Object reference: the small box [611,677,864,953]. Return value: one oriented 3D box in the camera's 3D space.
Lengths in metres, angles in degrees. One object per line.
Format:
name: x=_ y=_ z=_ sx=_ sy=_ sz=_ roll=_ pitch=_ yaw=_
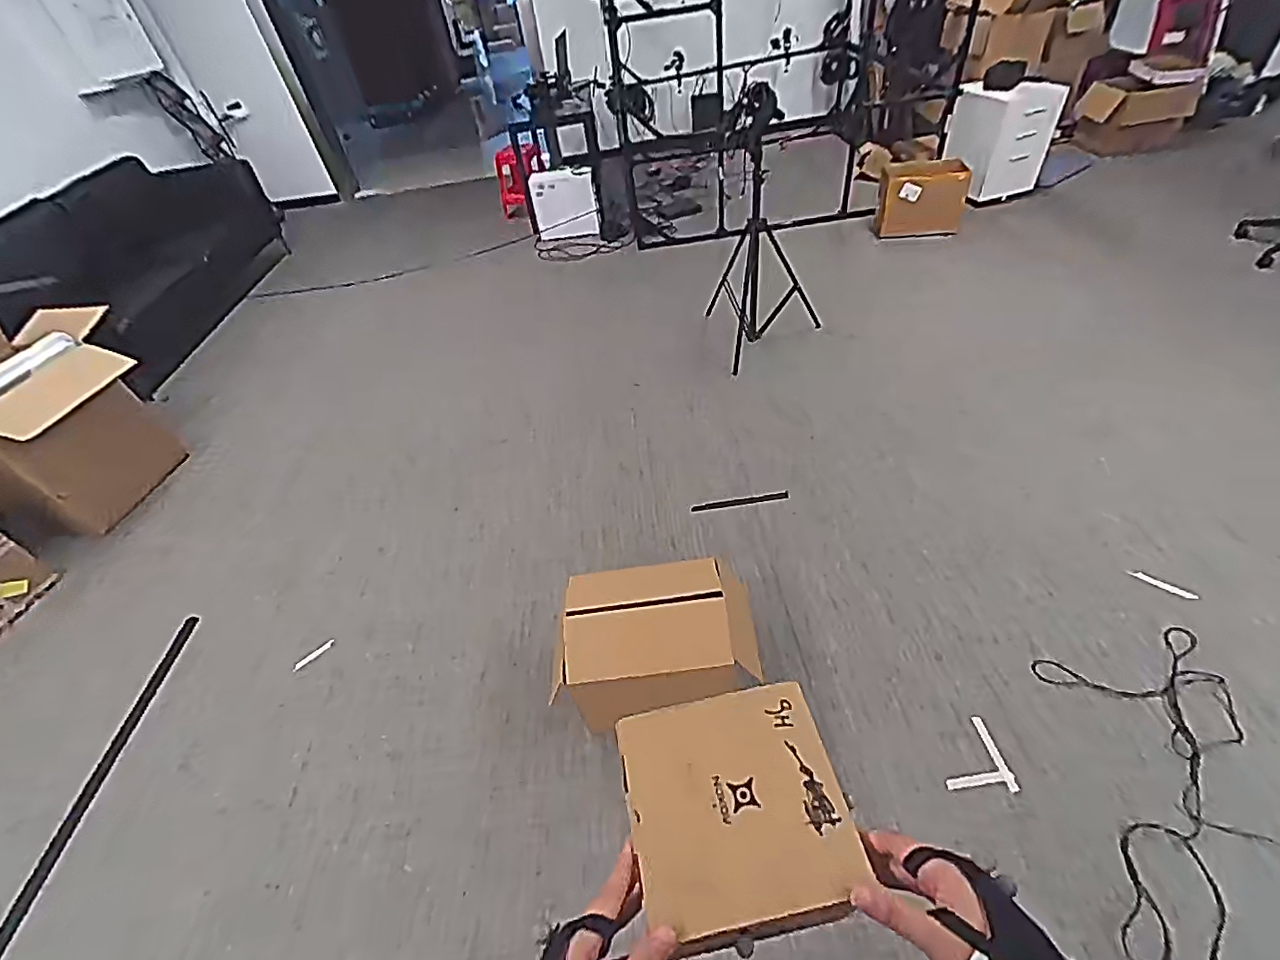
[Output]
small box: x=0.080 y=0.316 z=0.509 sx=0.179 sy=0.176 sz=0.168 roll=-12 pitch=45 yaw=-3
